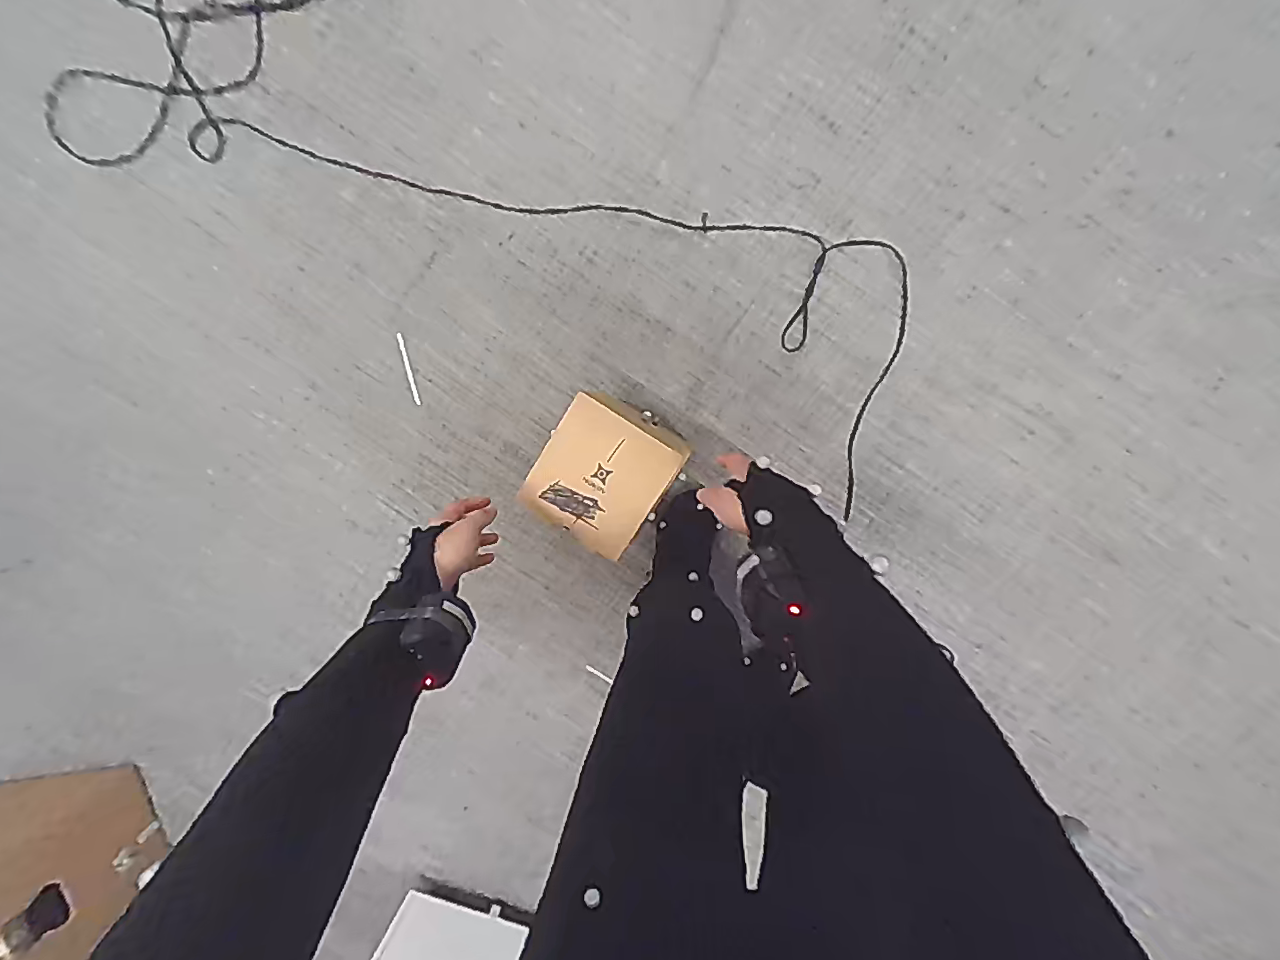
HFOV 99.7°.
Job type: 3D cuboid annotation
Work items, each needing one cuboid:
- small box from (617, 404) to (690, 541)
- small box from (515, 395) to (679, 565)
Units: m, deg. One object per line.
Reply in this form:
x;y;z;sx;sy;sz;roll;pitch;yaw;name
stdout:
-0.027;-0.024;0.962;0.168;0.176;0.179;31;101;0;small box
-0.052;-0.009;0.799;0.168;0.176;0.179;32;100;-2;small box
